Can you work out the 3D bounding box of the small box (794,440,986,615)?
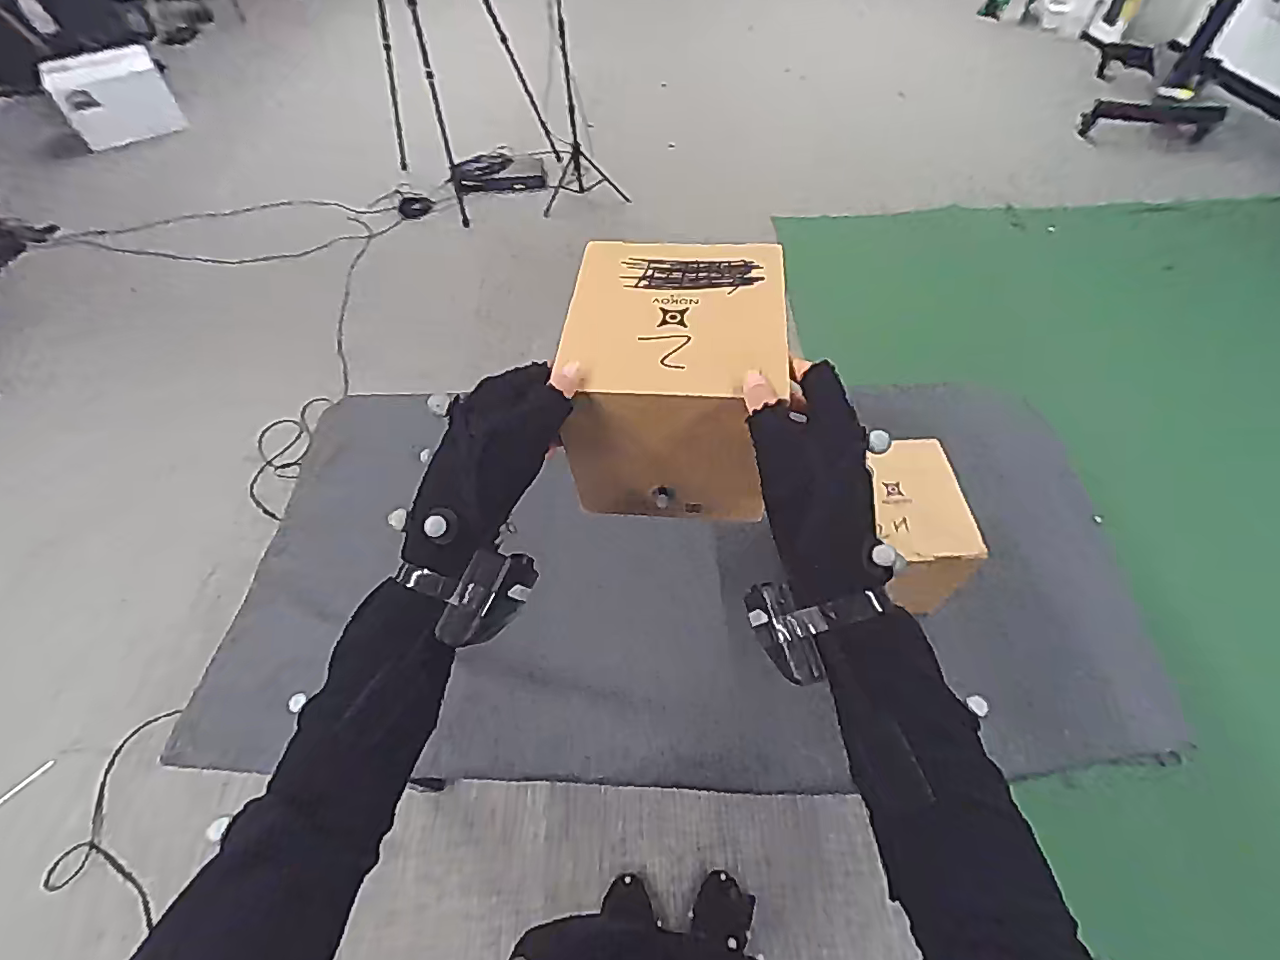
[{"bbox_3d":[0.315,0.066,0.730,0.168,0.176,0.179,-2,54,2],"label":"small box"}]
